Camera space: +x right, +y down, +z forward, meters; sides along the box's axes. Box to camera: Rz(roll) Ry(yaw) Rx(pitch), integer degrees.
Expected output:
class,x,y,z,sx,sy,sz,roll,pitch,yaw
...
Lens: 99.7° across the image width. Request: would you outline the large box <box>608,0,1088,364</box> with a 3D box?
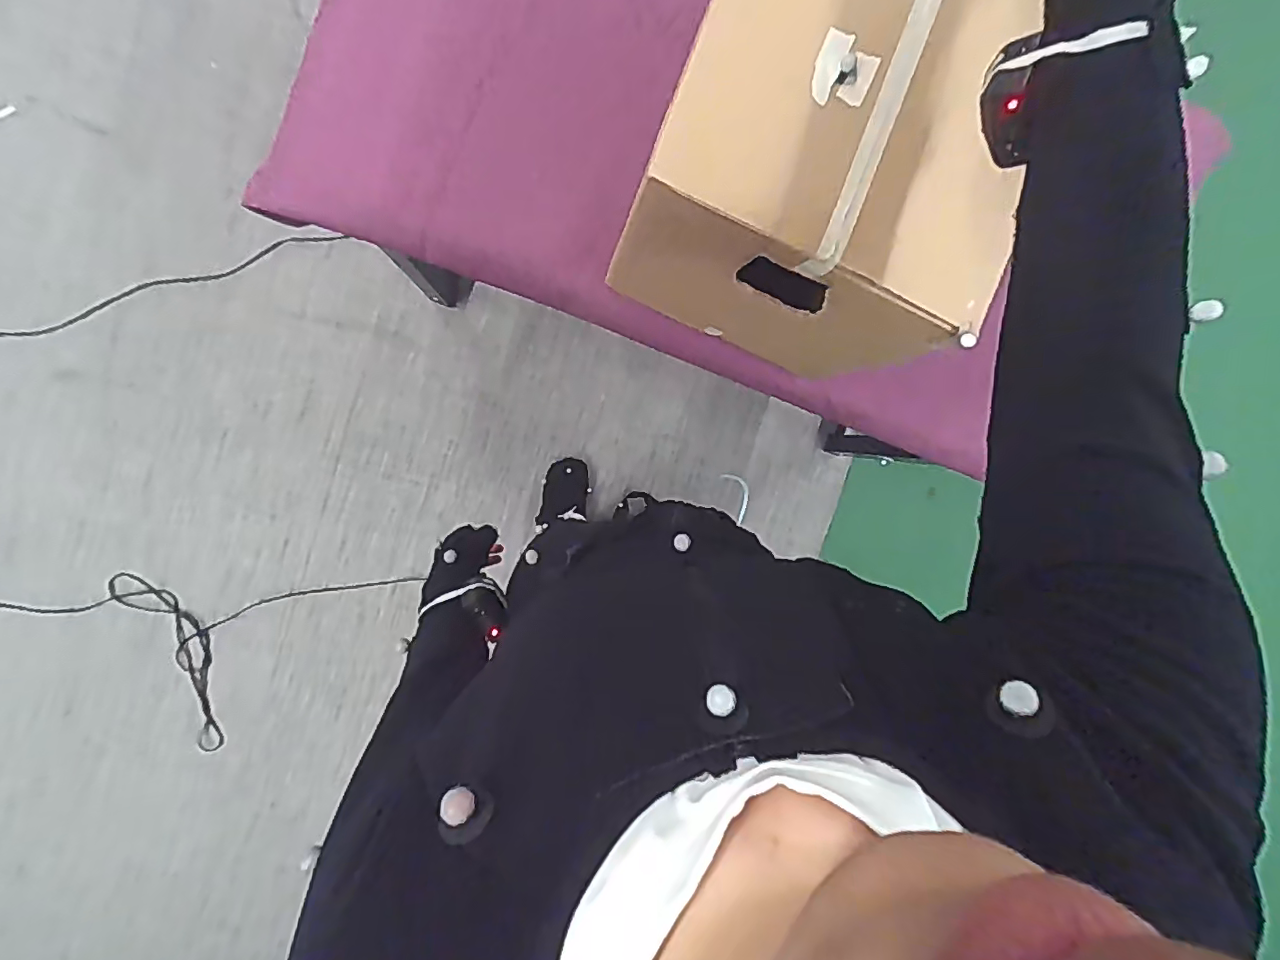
class,x,y,z,sx,sy,sz,roll,pitch,yaw
large box,0.188,-0.384,0.596,0.320,0.320,0.408,21,92,-11
